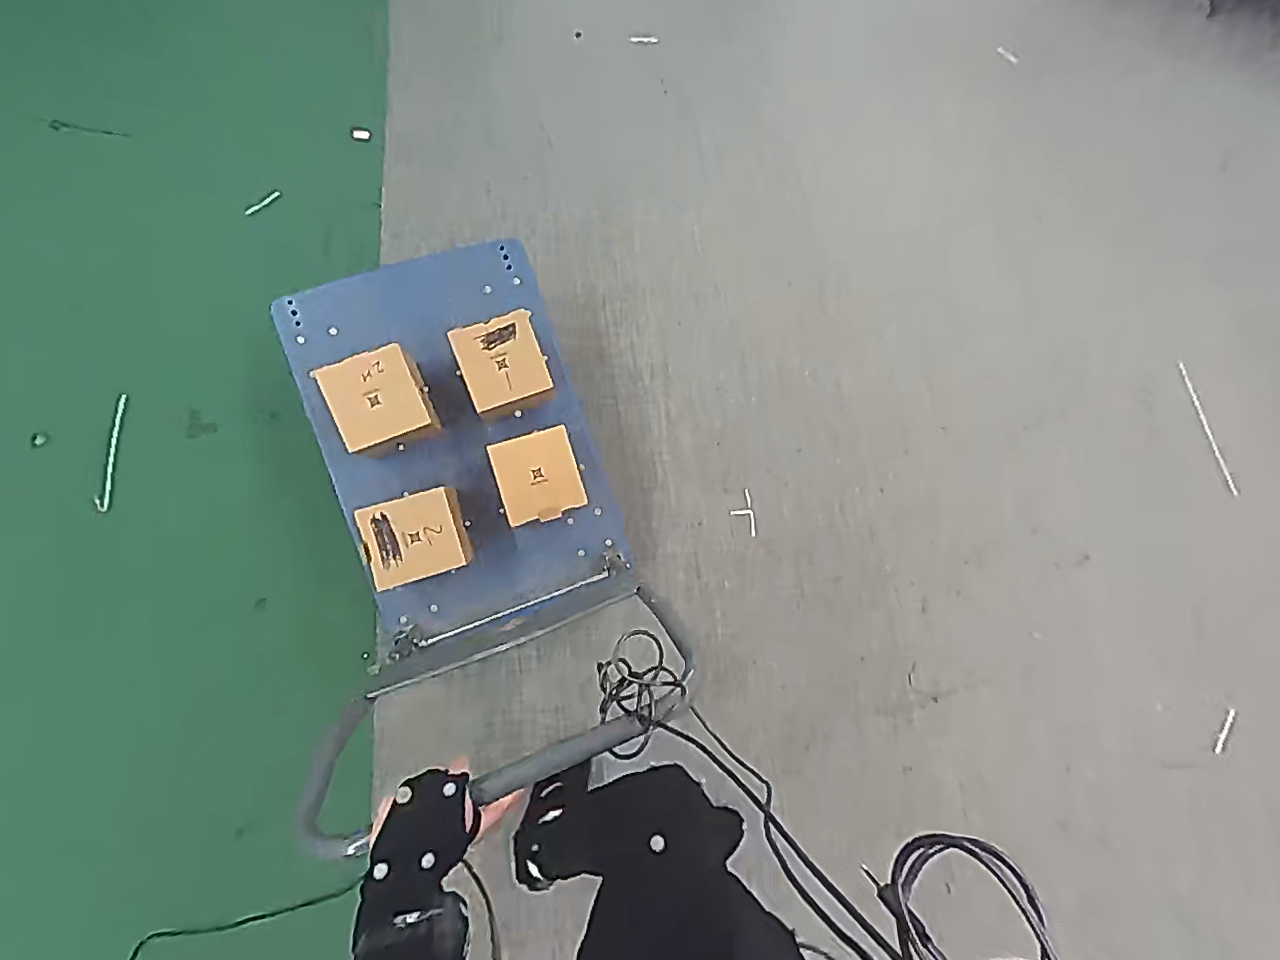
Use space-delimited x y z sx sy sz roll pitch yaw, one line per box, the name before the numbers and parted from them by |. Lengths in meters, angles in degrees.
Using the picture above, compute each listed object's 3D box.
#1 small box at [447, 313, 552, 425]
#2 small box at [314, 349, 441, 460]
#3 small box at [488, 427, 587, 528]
small box | -0.302 -0.235 1.182 0.168 0.176 0.179 -22 92 -10
small box | -0.539 -0.148 1.137 0.168 0.176 0.179 -23 92 -11
small box | -0.225 -0.002 1.187 0.168 0.176 0.179 -18 92 -10
